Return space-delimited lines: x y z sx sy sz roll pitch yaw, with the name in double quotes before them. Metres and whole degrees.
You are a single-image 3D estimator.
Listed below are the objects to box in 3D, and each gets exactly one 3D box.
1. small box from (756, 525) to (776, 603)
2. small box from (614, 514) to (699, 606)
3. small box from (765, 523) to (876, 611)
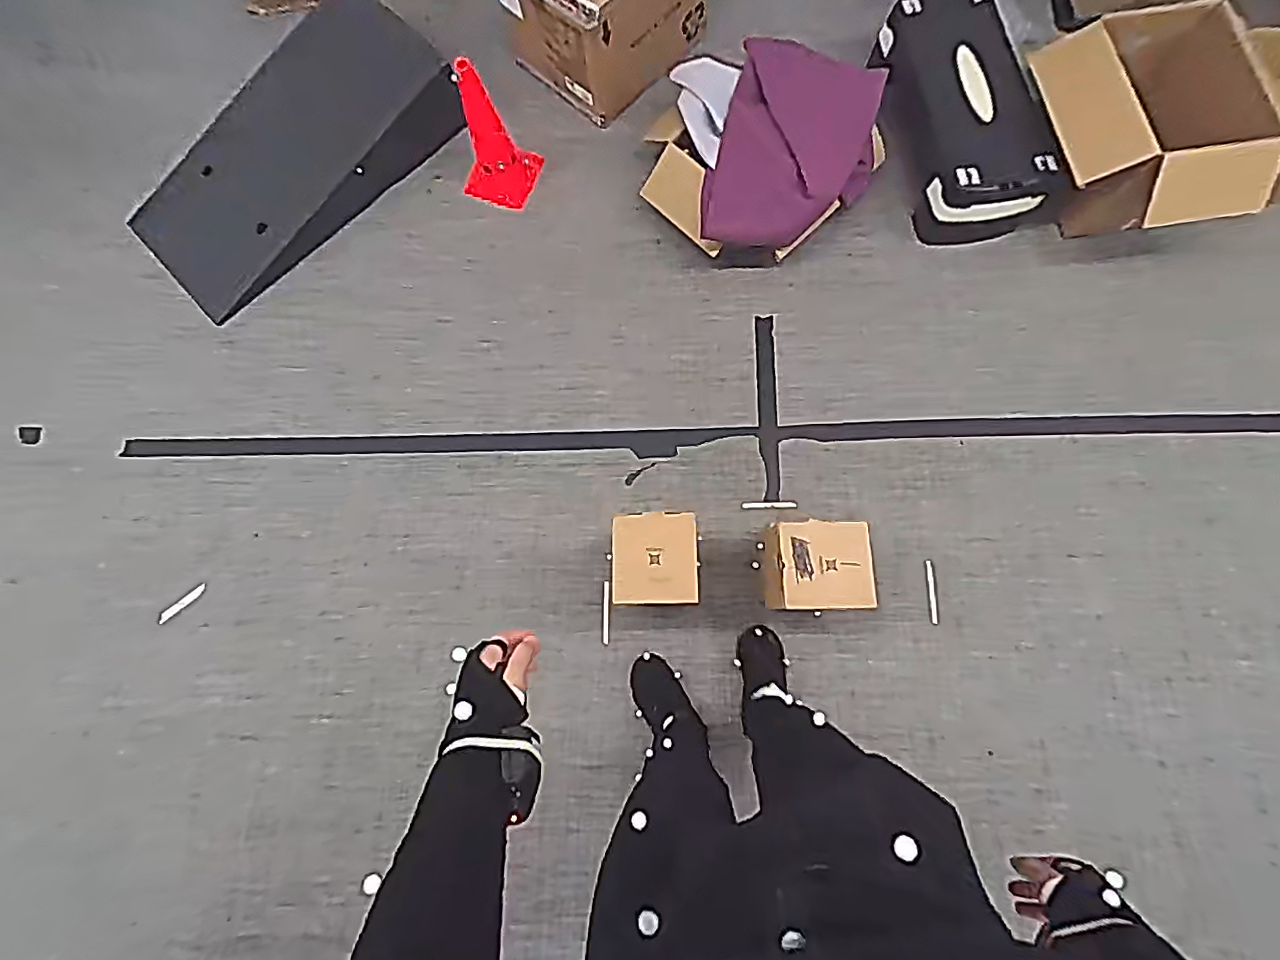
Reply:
"small box" 0.370 0.202 1.268 0.168 0.176 0.179 1 78 2
"small box" 0.034 0.170 1.118 0.168 0.176 0.179 -2 78 3
"small box" 0.356 0.182 1.103 0.179 0.176 0.168 -1 77 1
